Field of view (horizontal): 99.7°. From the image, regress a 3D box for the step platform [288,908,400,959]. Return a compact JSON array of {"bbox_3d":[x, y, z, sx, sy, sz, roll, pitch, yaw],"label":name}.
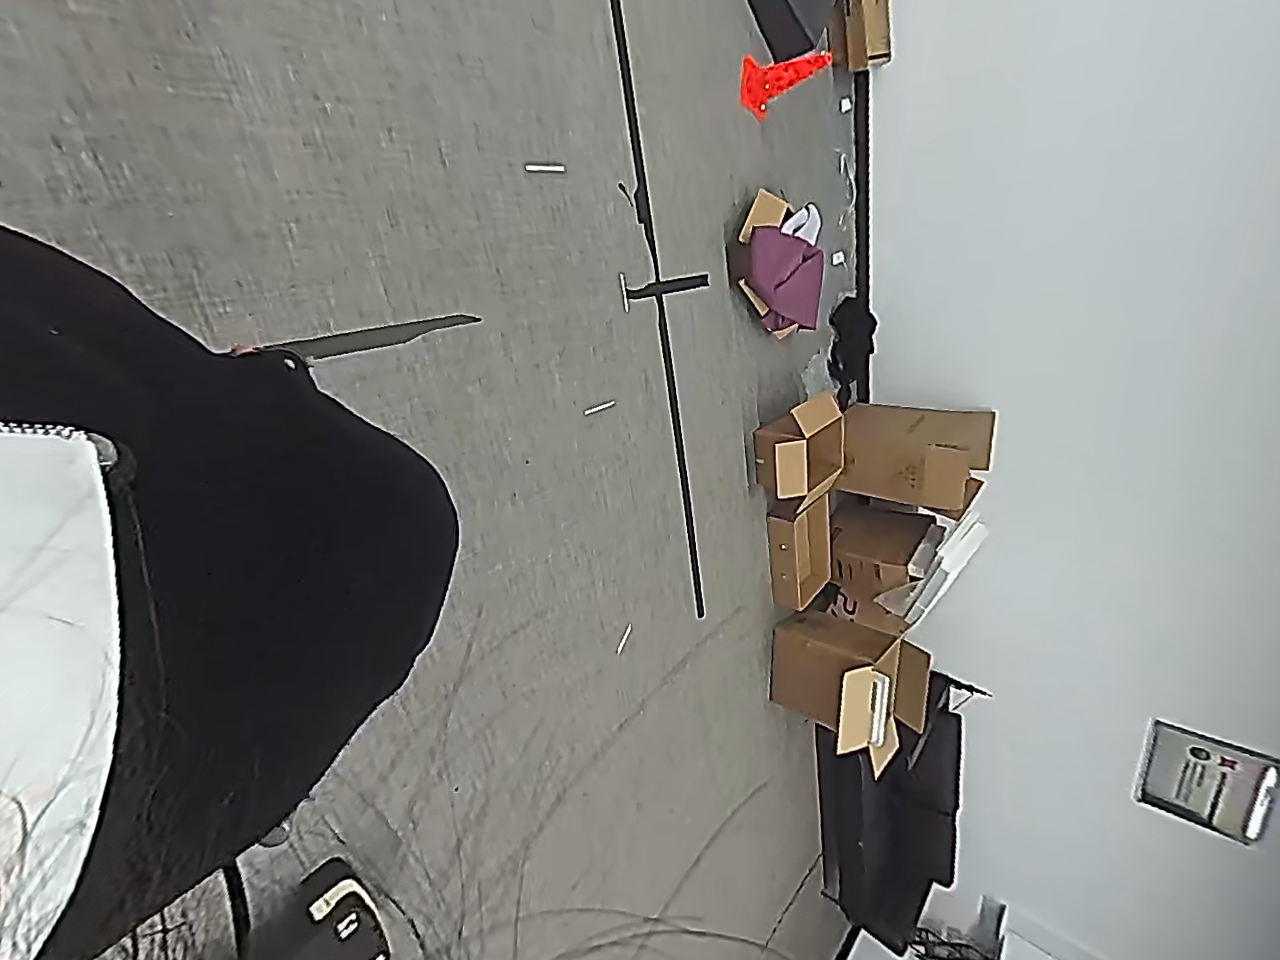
[{"bbox_3d":[-0.868,1.347,1.184,0.684,0.204,0.286,-30,120,-39],"label":"step platform"}]
